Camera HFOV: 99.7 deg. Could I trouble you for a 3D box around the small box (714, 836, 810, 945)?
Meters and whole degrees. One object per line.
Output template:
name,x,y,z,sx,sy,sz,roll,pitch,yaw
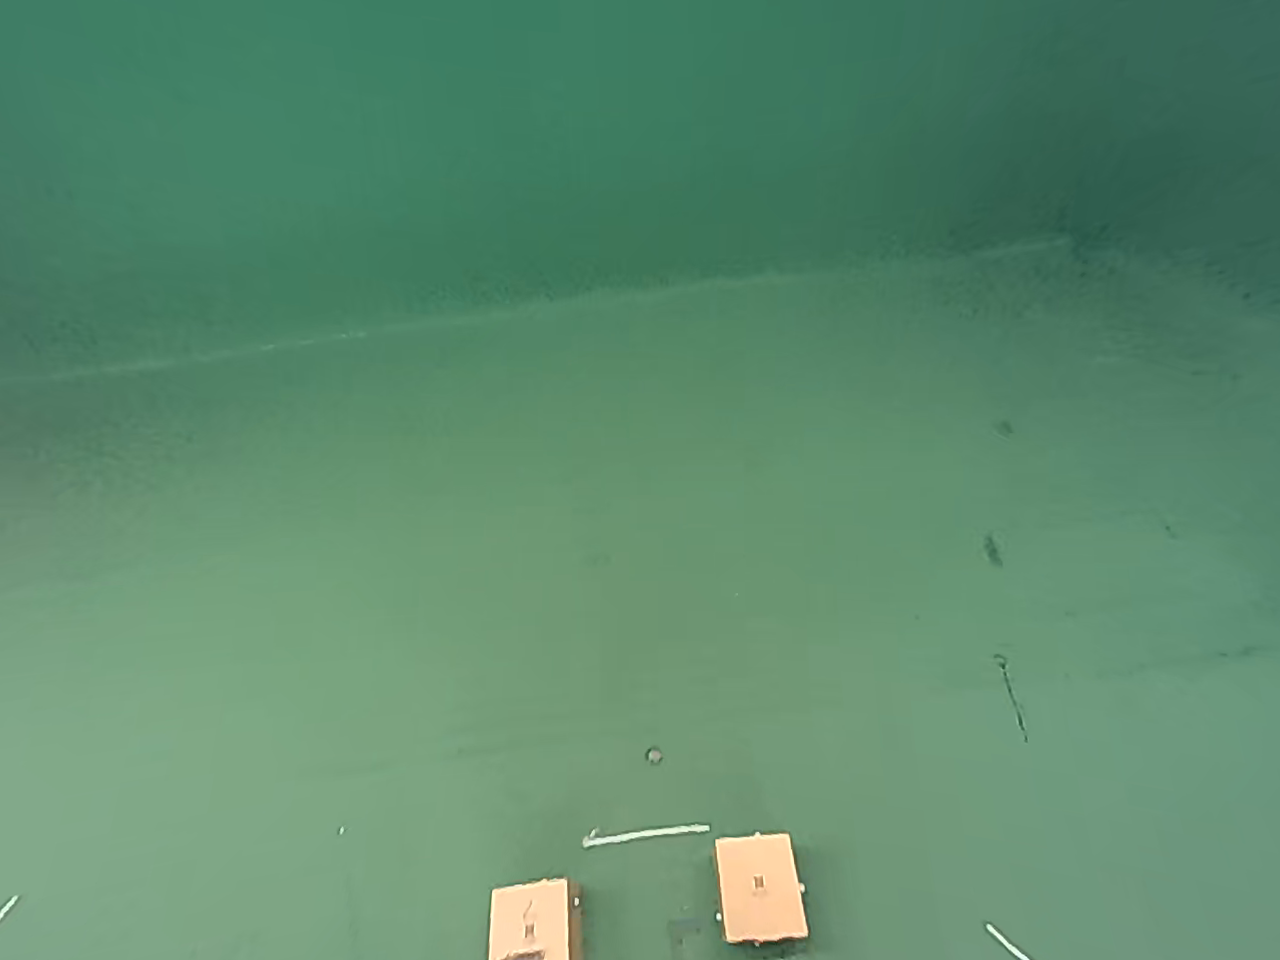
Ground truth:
small box,0.258,0.903,1.188,0.168,0.176,0.179,-5,51,1
